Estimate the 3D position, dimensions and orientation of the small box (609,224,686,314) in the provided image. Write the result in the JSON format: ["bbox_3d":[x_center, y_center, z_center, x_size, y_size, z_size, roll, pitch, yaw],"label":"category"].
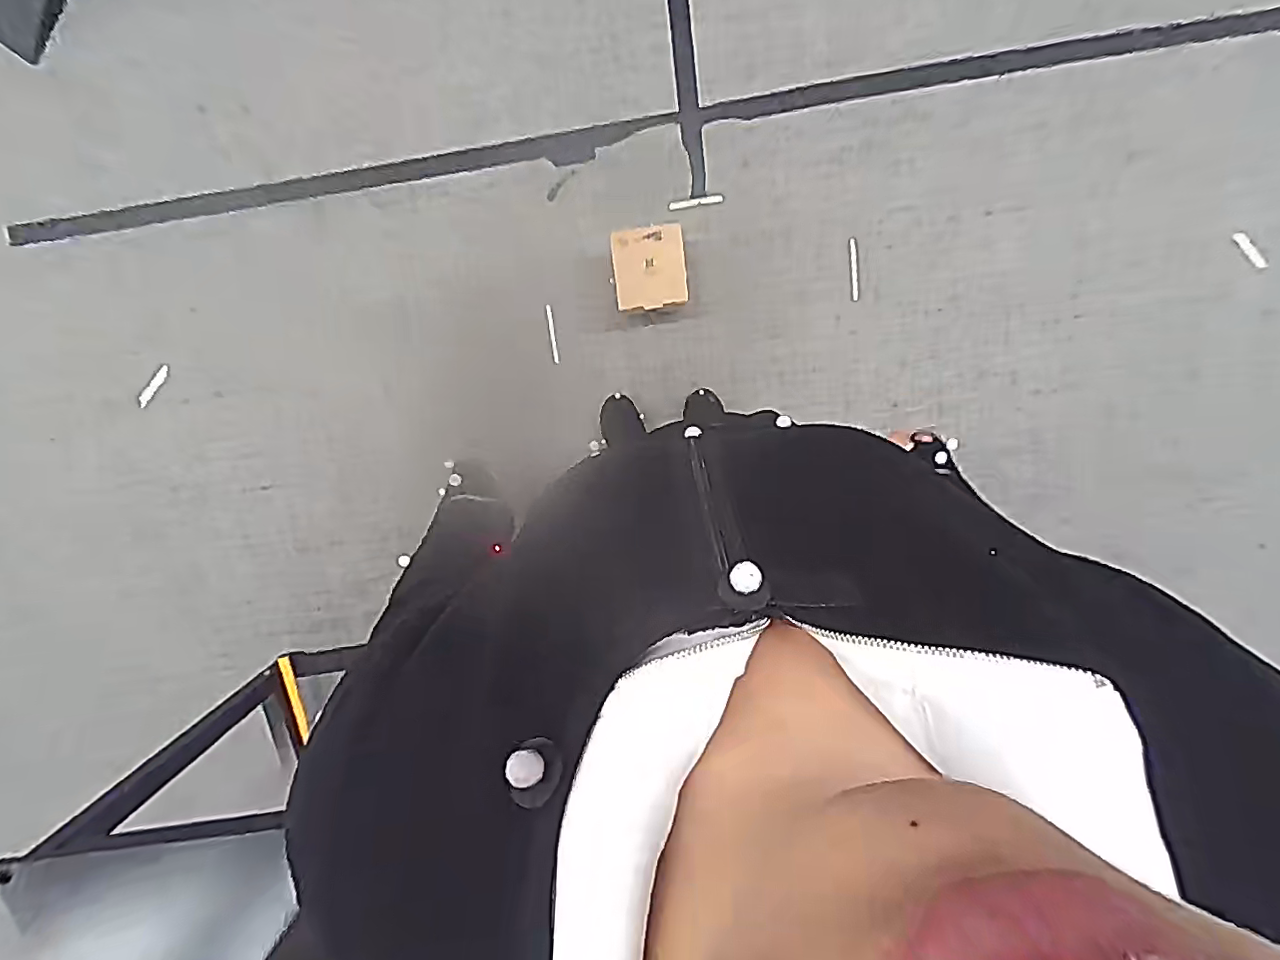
[{"bbox_3d":[0.021,-0.503,1.314,0.168,0.176,0.179,-6,102,2],"label":"small box"}]
